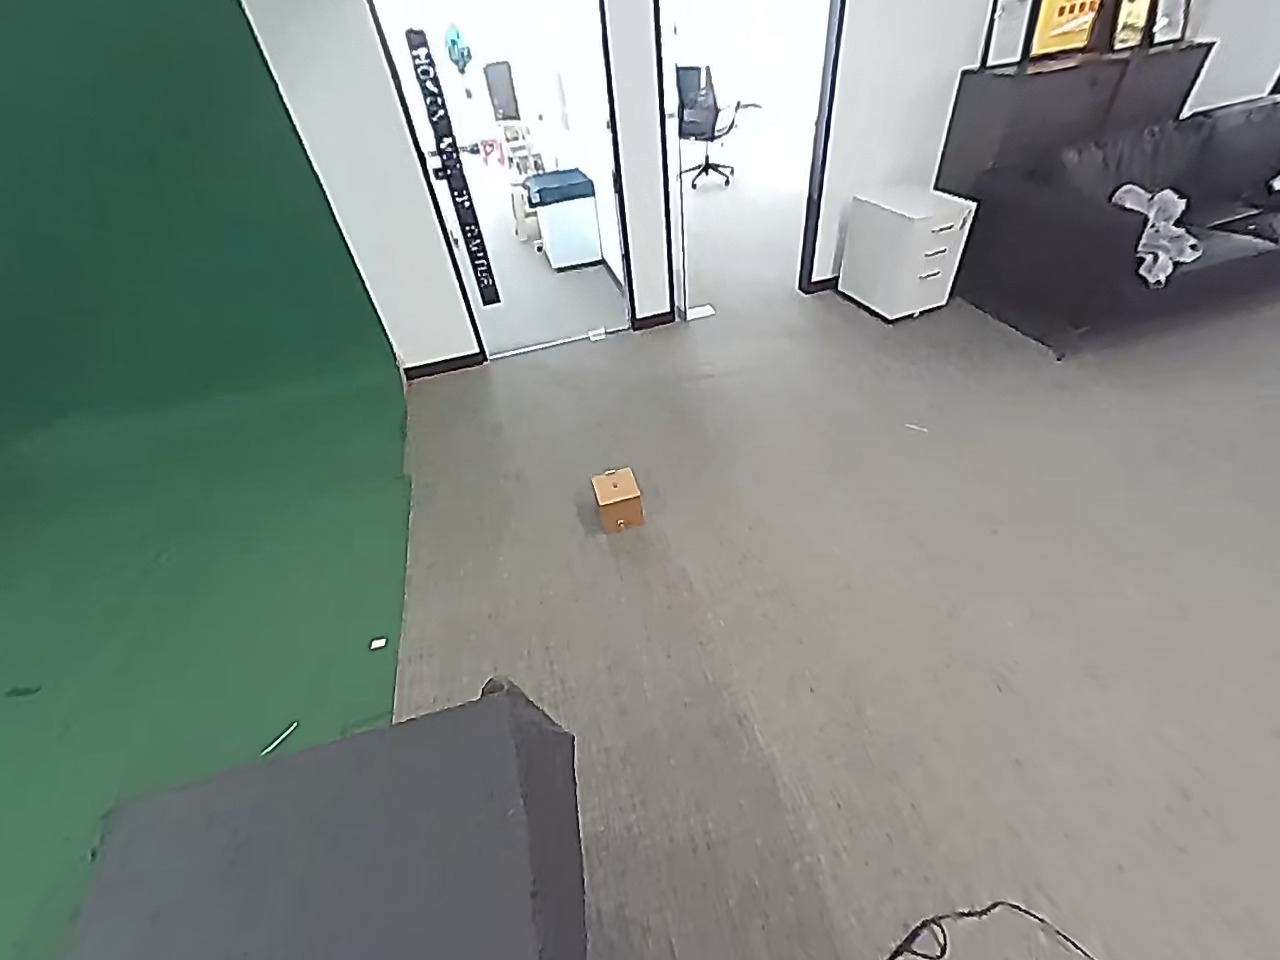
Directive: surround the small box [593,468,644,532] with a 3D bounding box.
[{"bbox_3d":[-0.085,0.082,2.166,0.168,0.176,0.179,-14,42,-5],"label":"small box"}]
